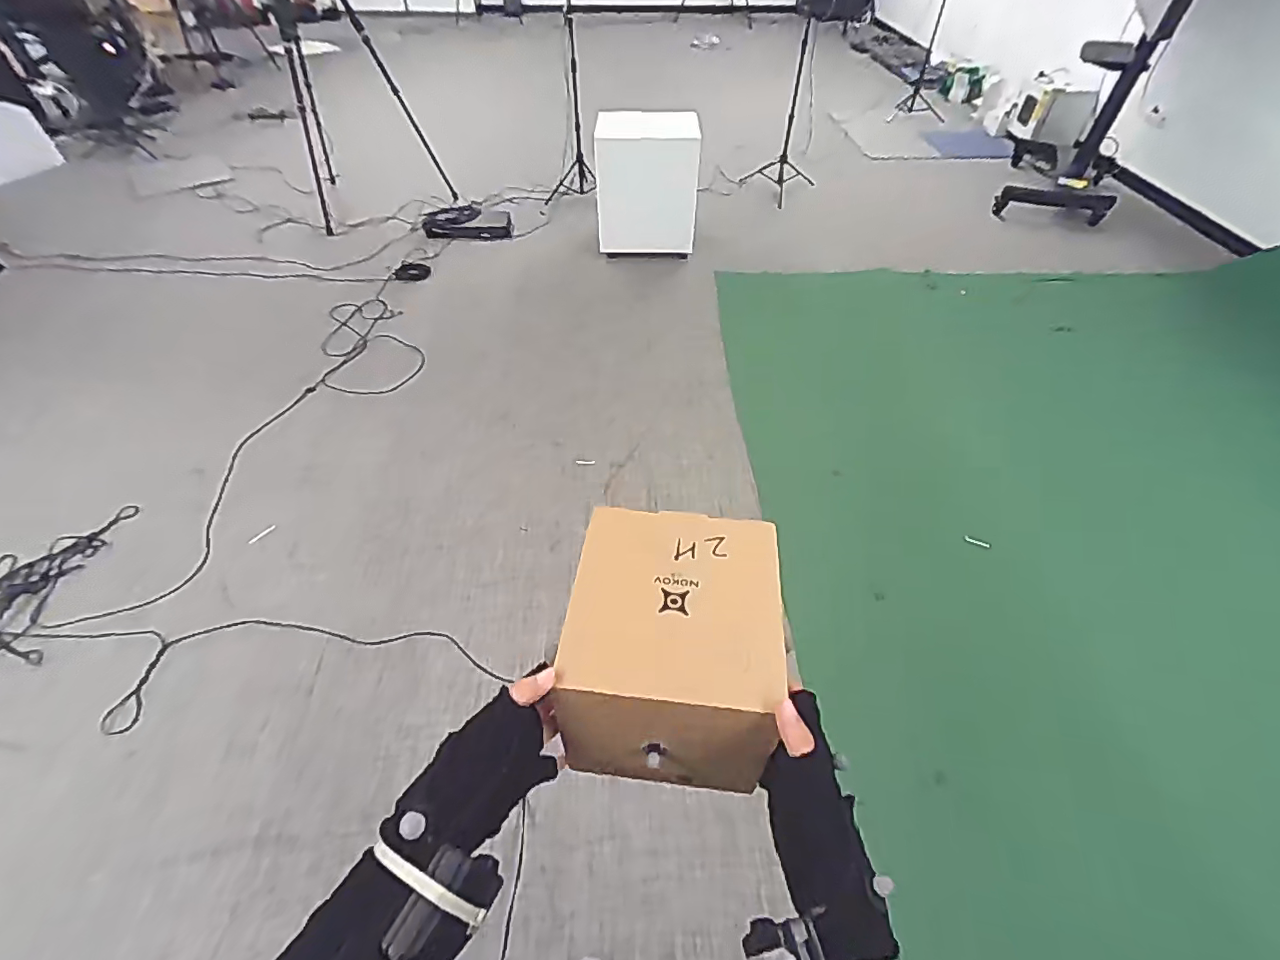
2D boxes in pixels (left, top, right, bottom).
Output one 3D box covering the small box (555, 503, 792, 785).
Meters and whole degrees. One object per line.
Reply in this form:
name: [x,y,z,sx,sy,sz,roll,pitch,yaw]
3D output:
small box: [0.032,0.145,0.478,0.168,0.176,0.179,5,44,4]
